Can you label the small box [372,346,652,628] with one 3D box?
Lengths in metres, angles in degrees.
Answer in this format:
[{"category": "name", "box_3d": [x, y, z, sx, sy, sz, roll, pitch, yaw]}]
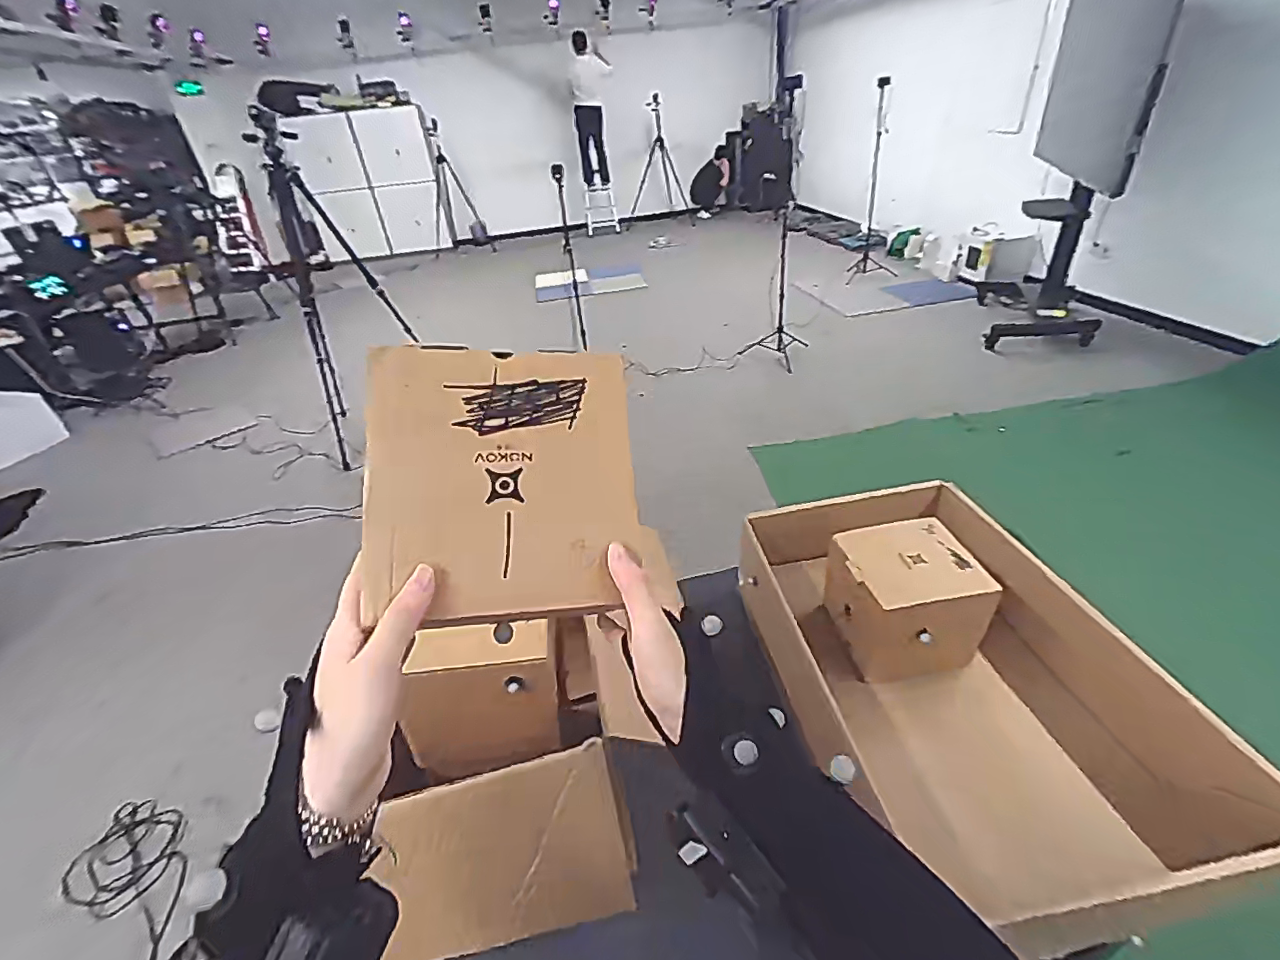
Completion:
[{"category": "small box", "box_3d": [-0.095, 0.017, 0.414, 0.168, 0.176, 0.179, -2, 78, -14]}]
